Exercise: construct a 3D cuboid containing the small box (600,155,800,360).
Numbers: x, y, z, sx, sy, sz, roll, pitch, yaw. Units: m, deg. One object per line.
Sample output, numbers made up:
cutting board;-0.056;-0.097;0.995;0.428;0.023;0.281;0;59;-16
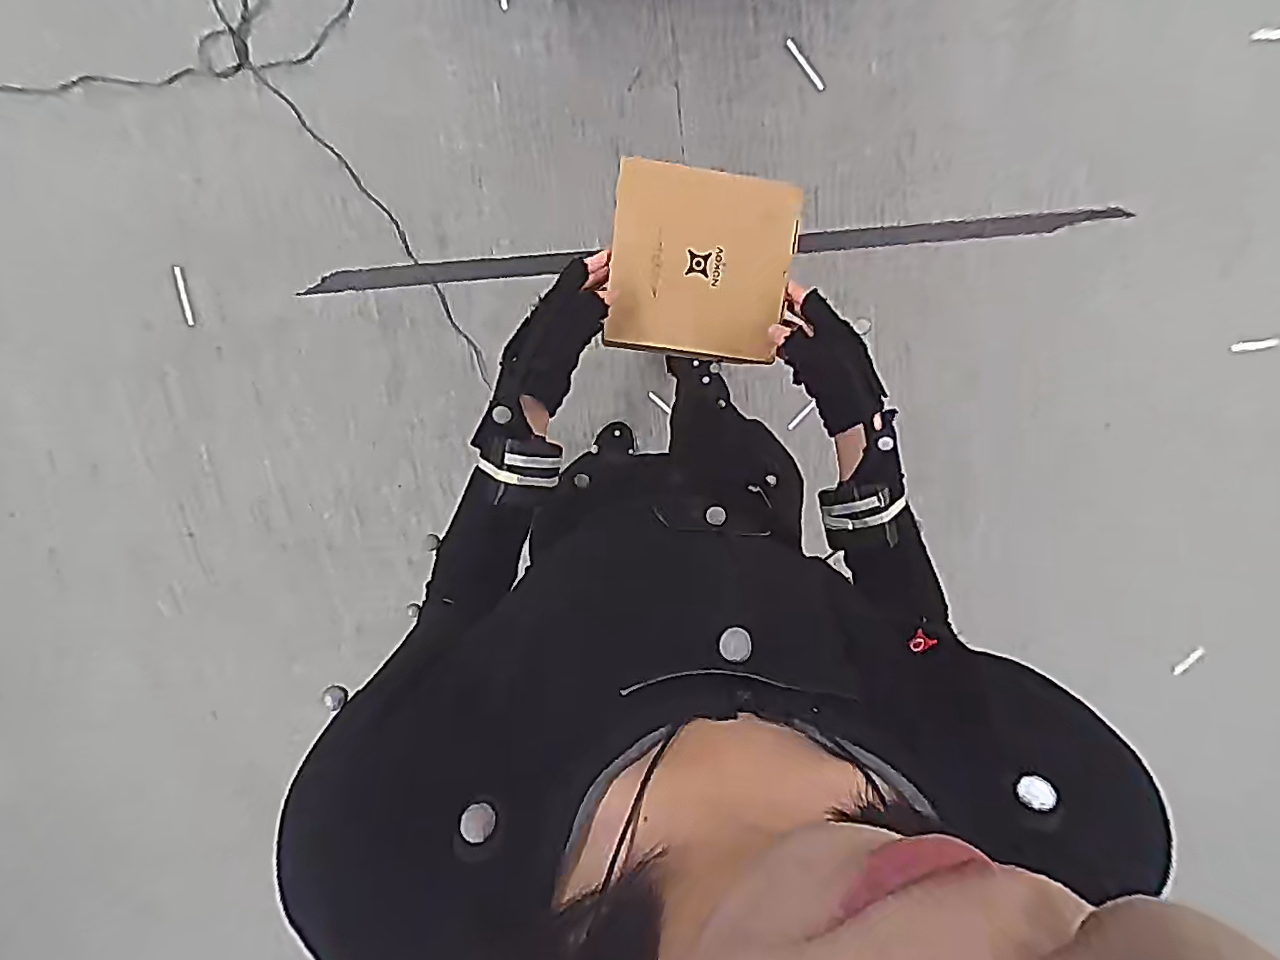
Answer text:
small box;0.051;-0.224;0.593;0.179;0.176;0.168;5;100;-5
